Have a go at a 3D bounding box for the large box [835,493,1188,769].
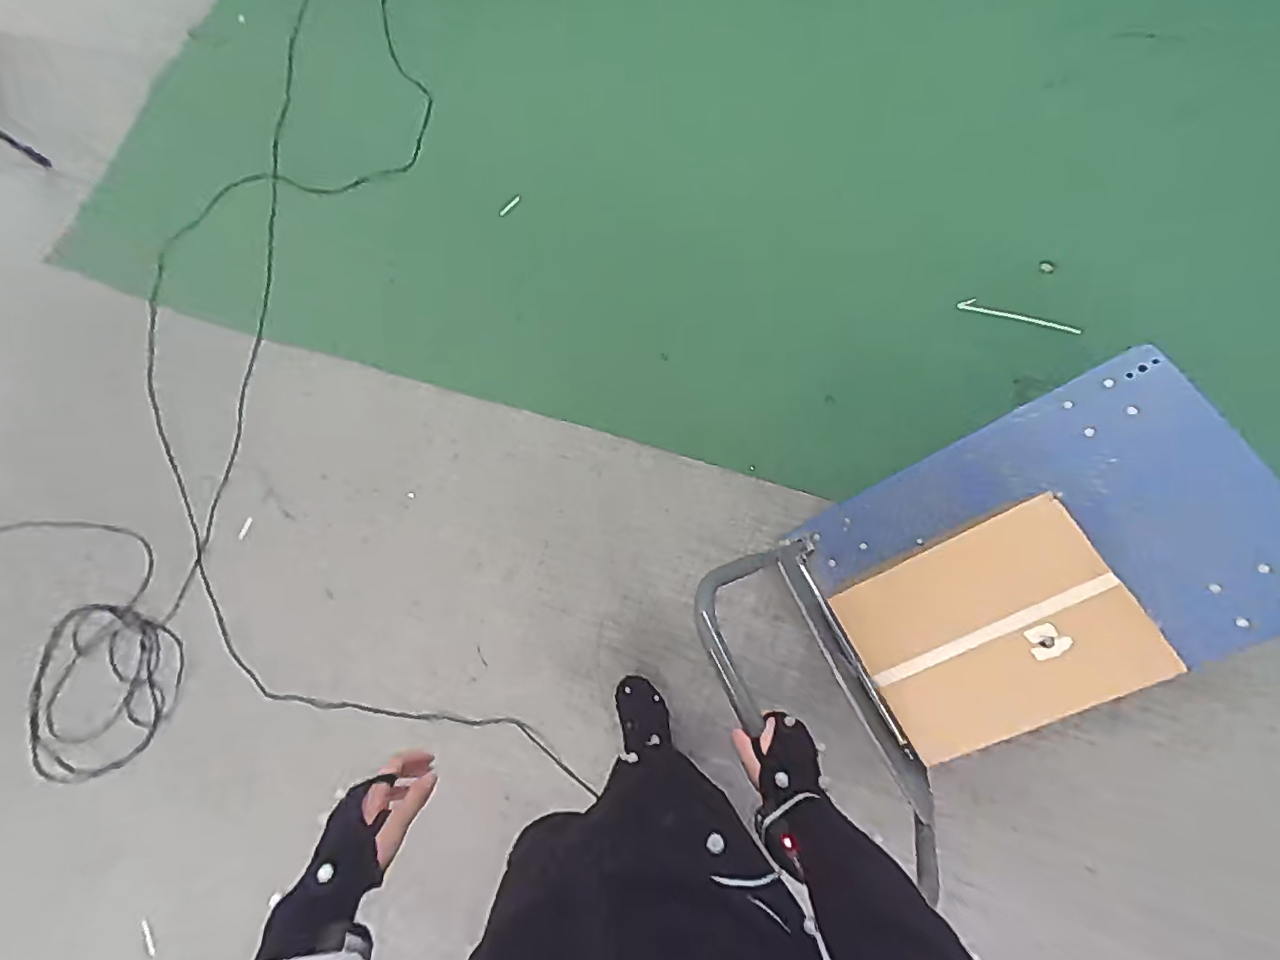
[{"bbox_3d":[0.635,0.270,1.022,0.408,0.320,0.320,-32,73,16],"label":"large box"}]
